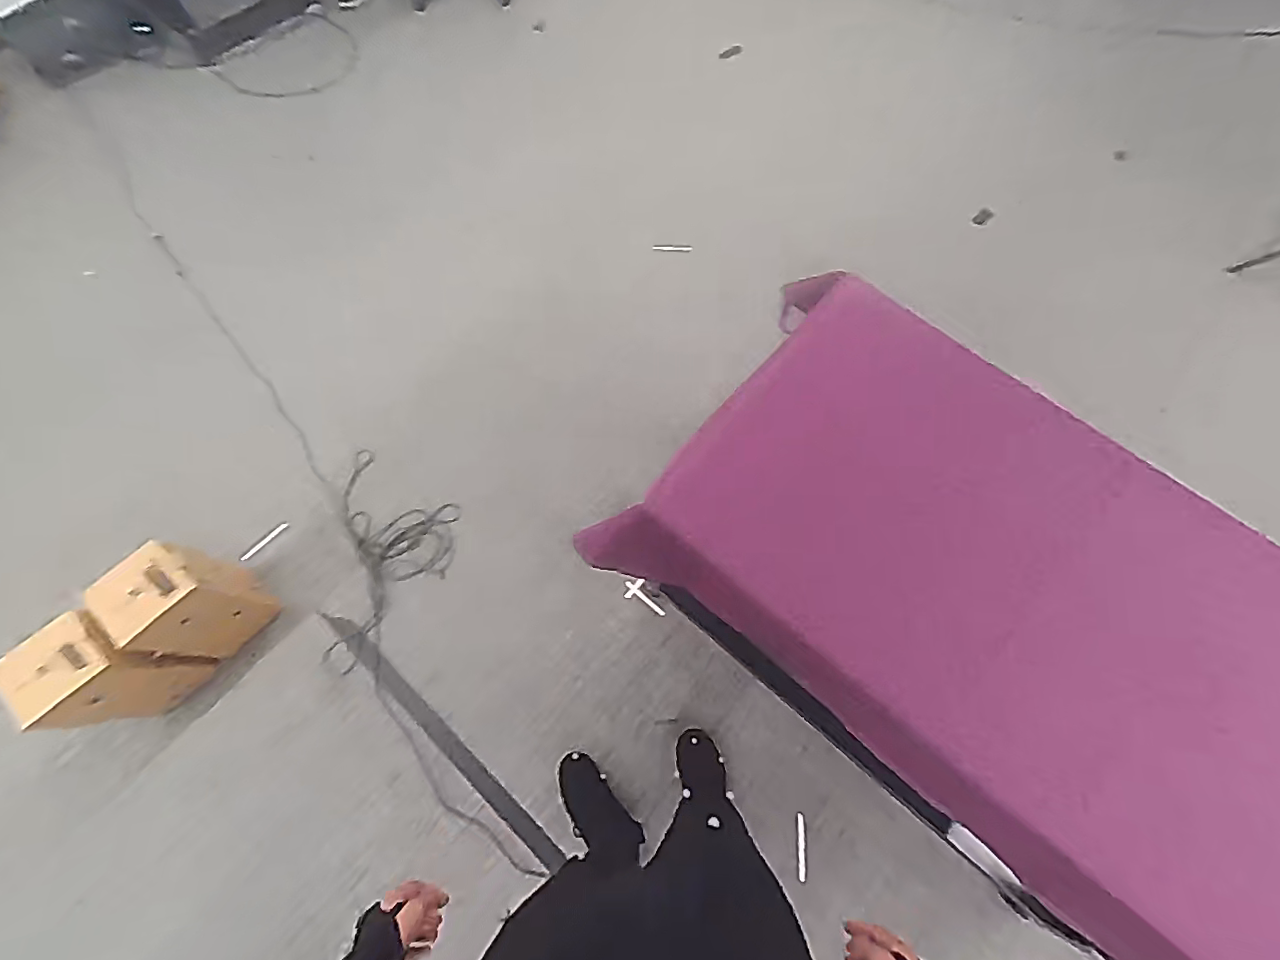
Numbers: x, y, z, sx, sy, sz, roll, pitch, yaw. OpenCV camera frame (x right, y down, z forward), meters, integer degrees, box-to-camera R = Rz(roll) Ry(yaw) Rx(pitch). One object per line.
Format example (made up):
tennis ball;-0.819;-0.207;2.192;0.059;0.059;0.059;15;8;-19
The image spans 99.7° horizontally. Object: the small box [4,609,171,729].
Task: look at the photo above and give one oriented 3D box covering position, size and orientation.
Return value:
small box;-1.188;0.409;1.183;0.179;0.176;0.168;-42;75;-12
